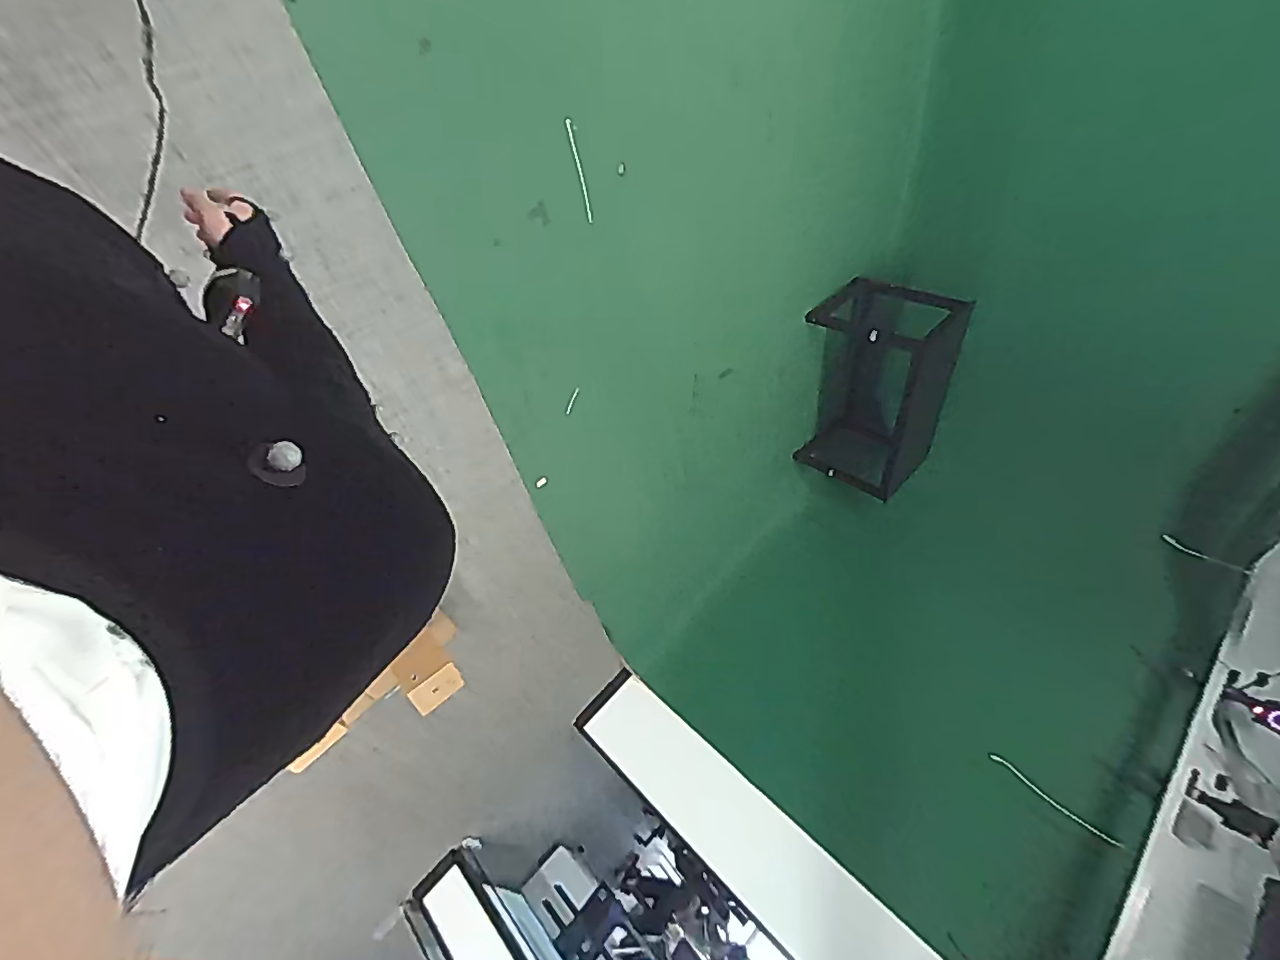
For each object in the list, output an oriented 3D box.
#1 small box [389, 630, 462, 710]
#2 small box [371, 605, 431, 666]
[{"bbox_3d":[-0.781,0.684,1.956,0.179,0.176,0.168,-36,140,-29],"label":"small box"},{"bbox_3d":[-0.894,0.615,2.057,0.179,0.176,0.168,-35,140,-29],"label":"small box"}]
